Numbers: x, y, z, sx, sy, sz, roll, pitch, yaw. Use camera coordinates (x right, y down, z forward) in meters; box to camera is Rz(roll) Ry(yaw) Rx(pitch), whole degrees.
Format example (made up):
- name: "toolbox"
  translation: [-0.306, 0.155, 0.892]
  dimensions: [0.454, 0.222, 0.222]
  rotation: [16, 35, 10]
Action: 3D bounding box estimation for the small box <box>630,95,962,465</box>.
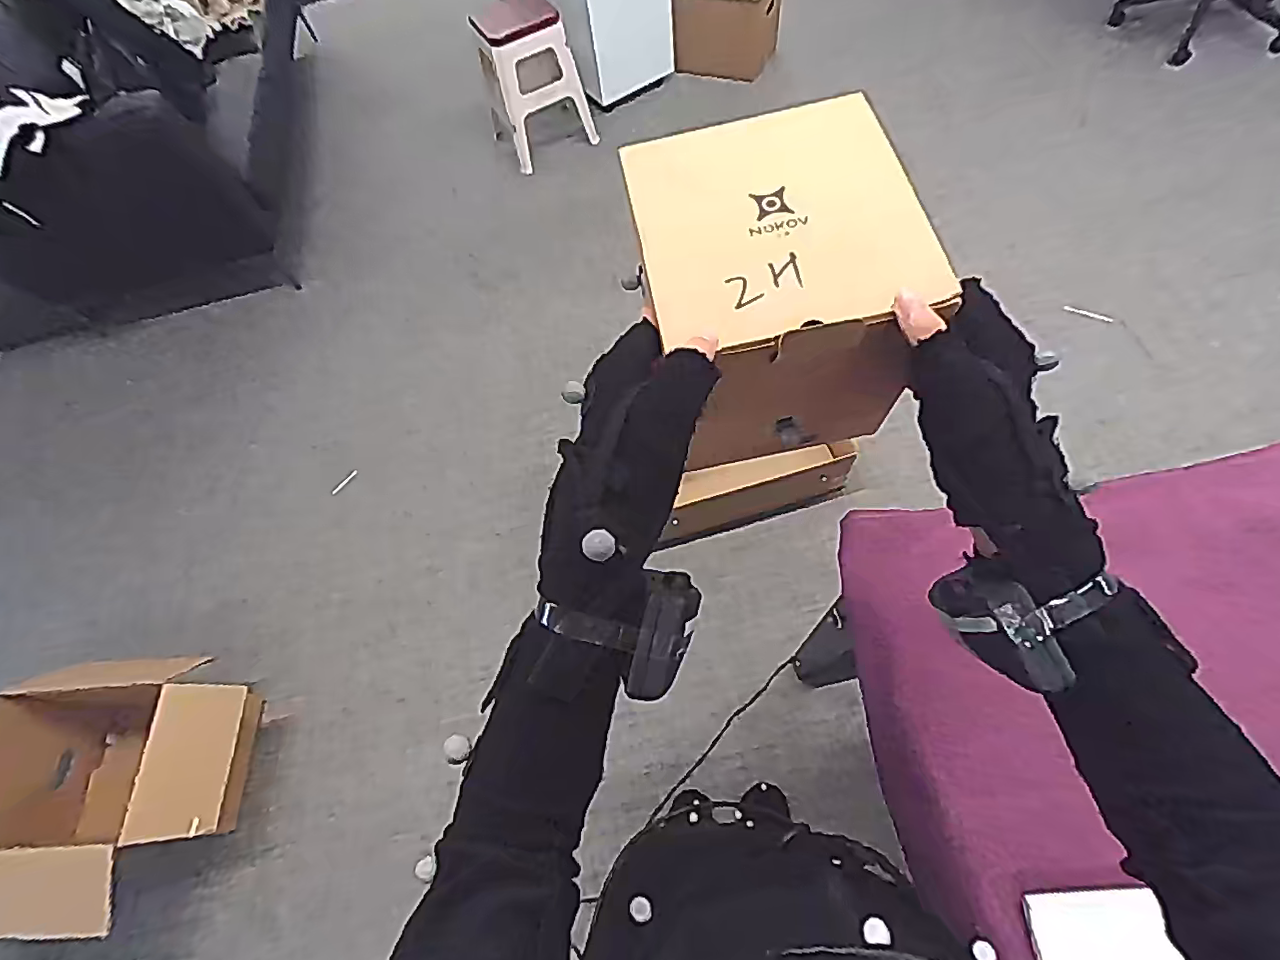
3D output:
- name: "small box"
  translation: [0.091, -0.133, 0.402]
  dimensions: [0.168, 0.176, 0.179]
  rotation: [-11, 68, 3]
